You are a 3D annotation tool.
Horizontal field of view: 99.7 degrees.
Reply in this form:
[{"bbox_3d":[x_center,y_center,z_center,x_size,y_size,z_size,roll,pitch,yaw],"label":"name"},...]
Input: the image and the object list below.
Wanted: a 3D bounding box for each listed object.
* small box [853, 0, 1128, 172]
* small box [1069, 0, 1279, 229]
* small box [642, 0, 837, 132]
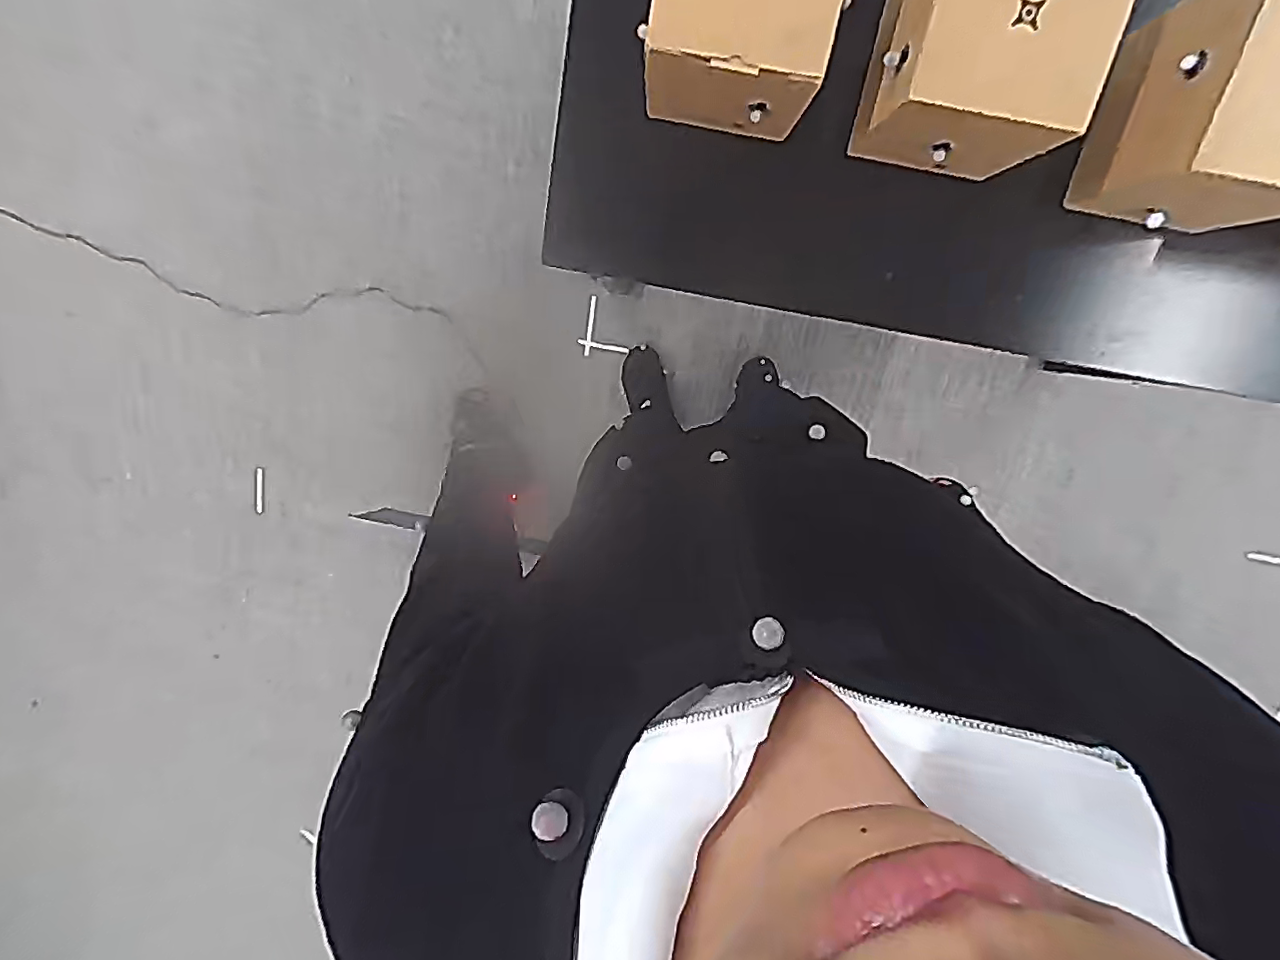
[{"bbox_3d":[0.333,-0.431,0.537,0.168,0.176,0.179,11,106,-2],"label":"small box"},{"bbox_3d":[0.592,-0.374,0.545,0.168,0.176,0.179,11,107,-1],"label":"small box"},{"bbox_3d":[0.098,-0.477,0.535,0.168,0.176,0.179,9,105,-2],"label":"small box"}]
